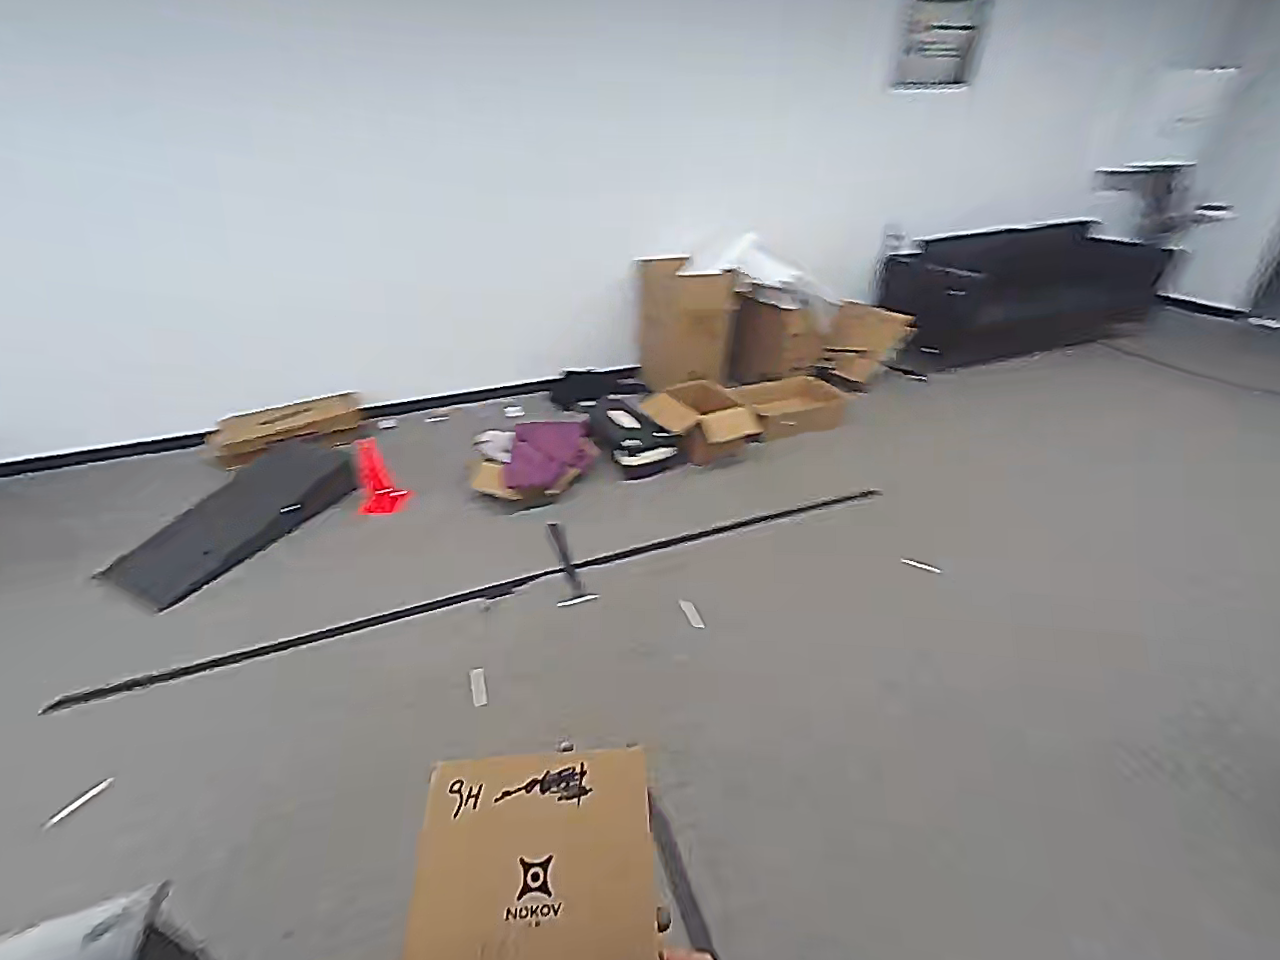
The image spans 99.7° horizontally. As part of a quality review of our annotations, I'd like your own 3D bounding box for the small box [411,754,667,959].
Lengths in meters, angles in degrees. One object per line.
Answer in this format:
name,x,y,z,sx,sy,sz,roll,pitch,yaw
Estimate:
small box,-0.064,0.335,0.424,0.168,0.176,0.179,-3,48,-1
